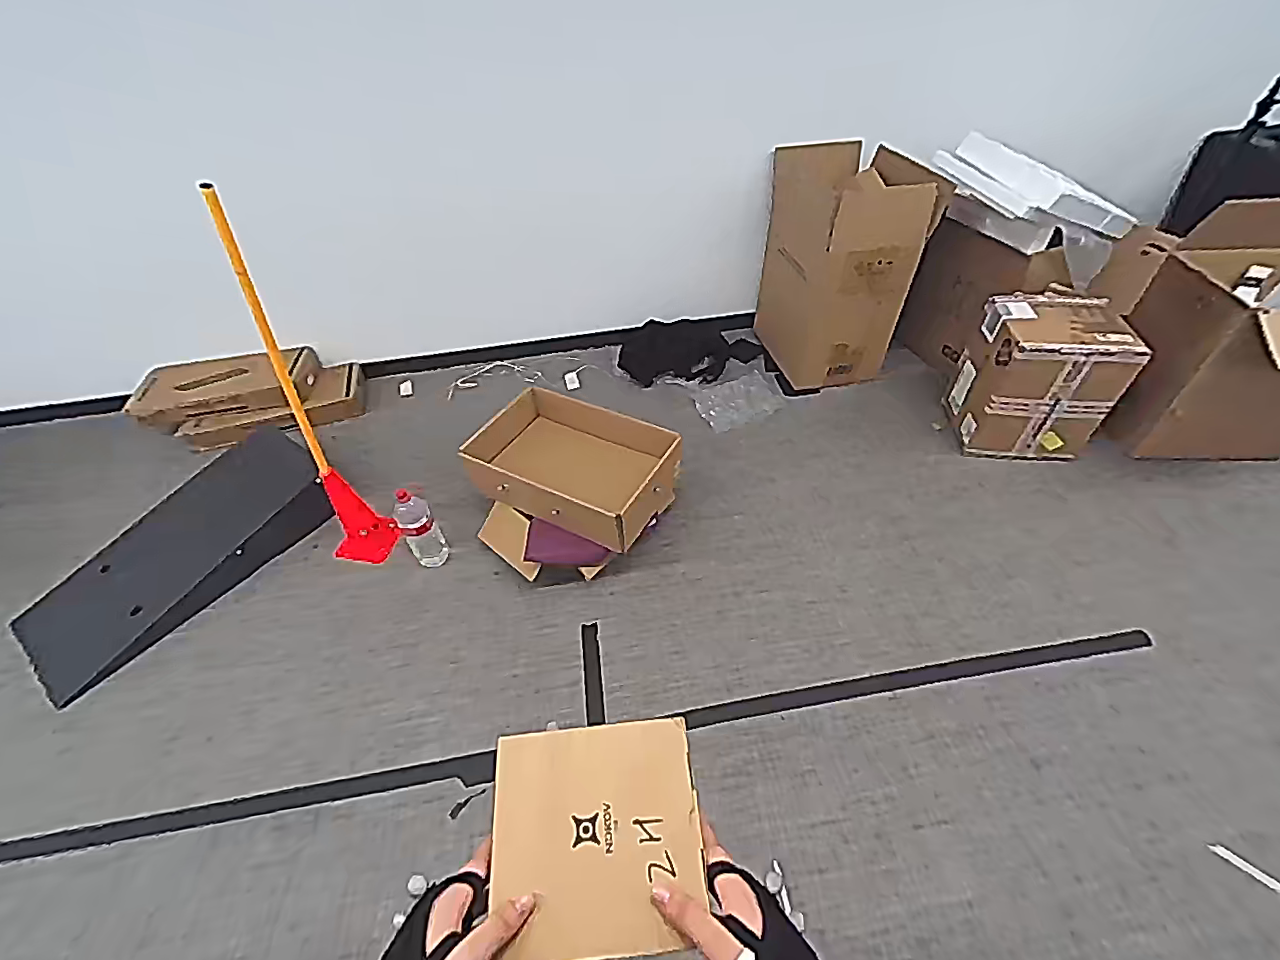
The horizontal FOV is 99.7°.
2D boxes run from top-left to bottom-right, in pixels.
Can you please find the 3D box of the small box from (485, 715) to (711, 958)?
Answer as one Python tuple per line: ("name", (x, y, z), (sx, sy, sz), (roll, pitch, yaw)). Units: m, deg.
("small box", (-0.035, 0.339, 0.518), (0.179, 0.176, 0.168), (-4, 52, -3))
